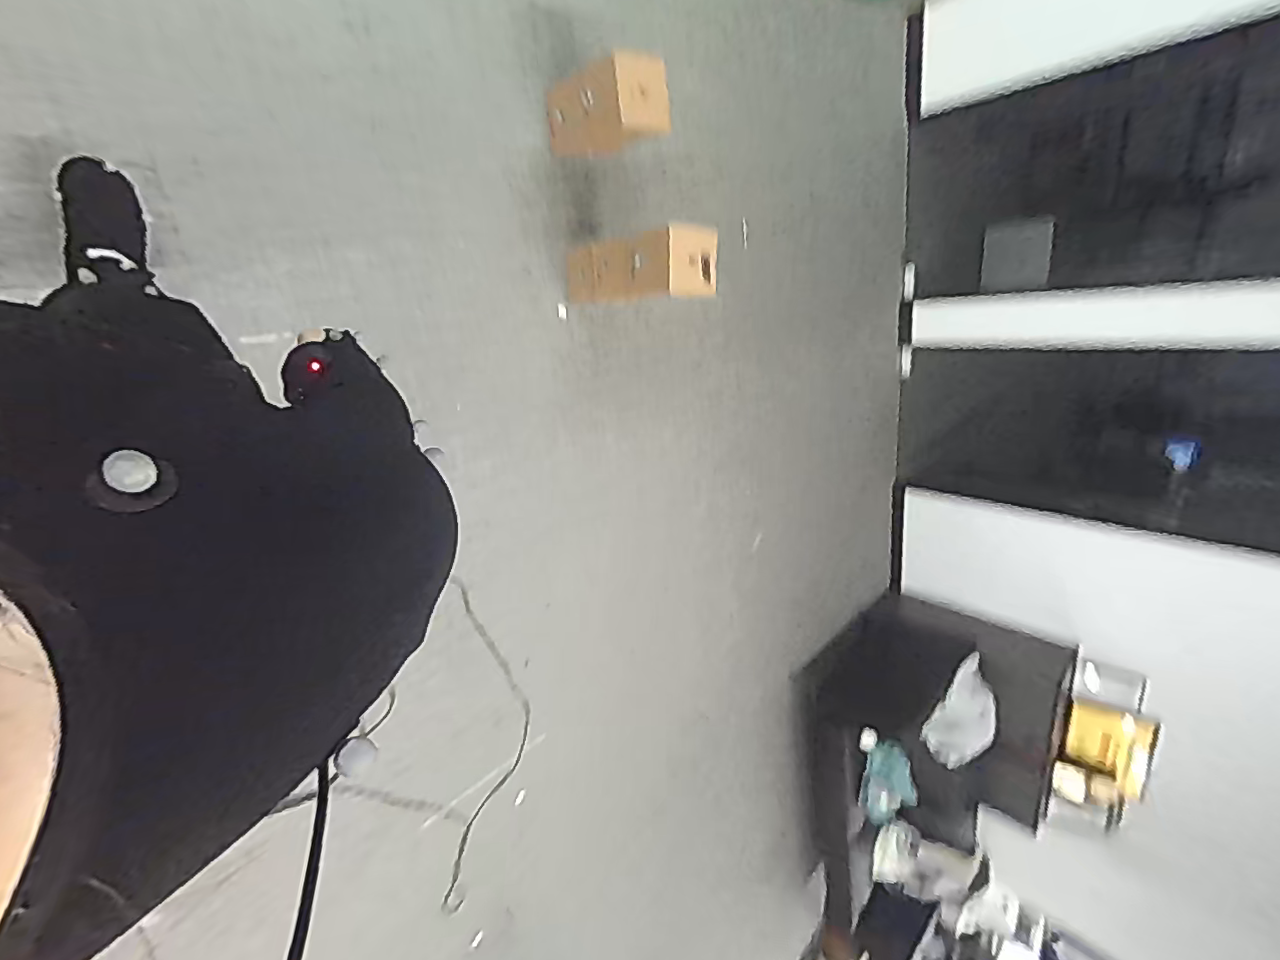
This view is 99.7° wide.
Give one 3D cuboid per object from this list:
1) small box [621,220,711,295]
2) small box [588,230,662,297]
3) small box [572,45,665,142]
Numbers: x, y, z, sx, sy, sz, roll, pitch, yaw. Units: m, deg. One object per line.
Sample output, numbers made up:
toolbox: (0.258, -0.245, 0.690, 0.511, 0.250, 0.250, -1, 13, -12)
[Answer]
small box: (0.068, -0.591, 1.457, 0.179, 0.176, 0.168, -12, 110, -38)
small box: (-0.034, -0.627, 1.581, 0.179, 0.176, 0.168, -15, 111, -38)
small box: (-0.058, -1.023, 1.447, 0.179, 0.176, 0.168, -23, 115, -36)
